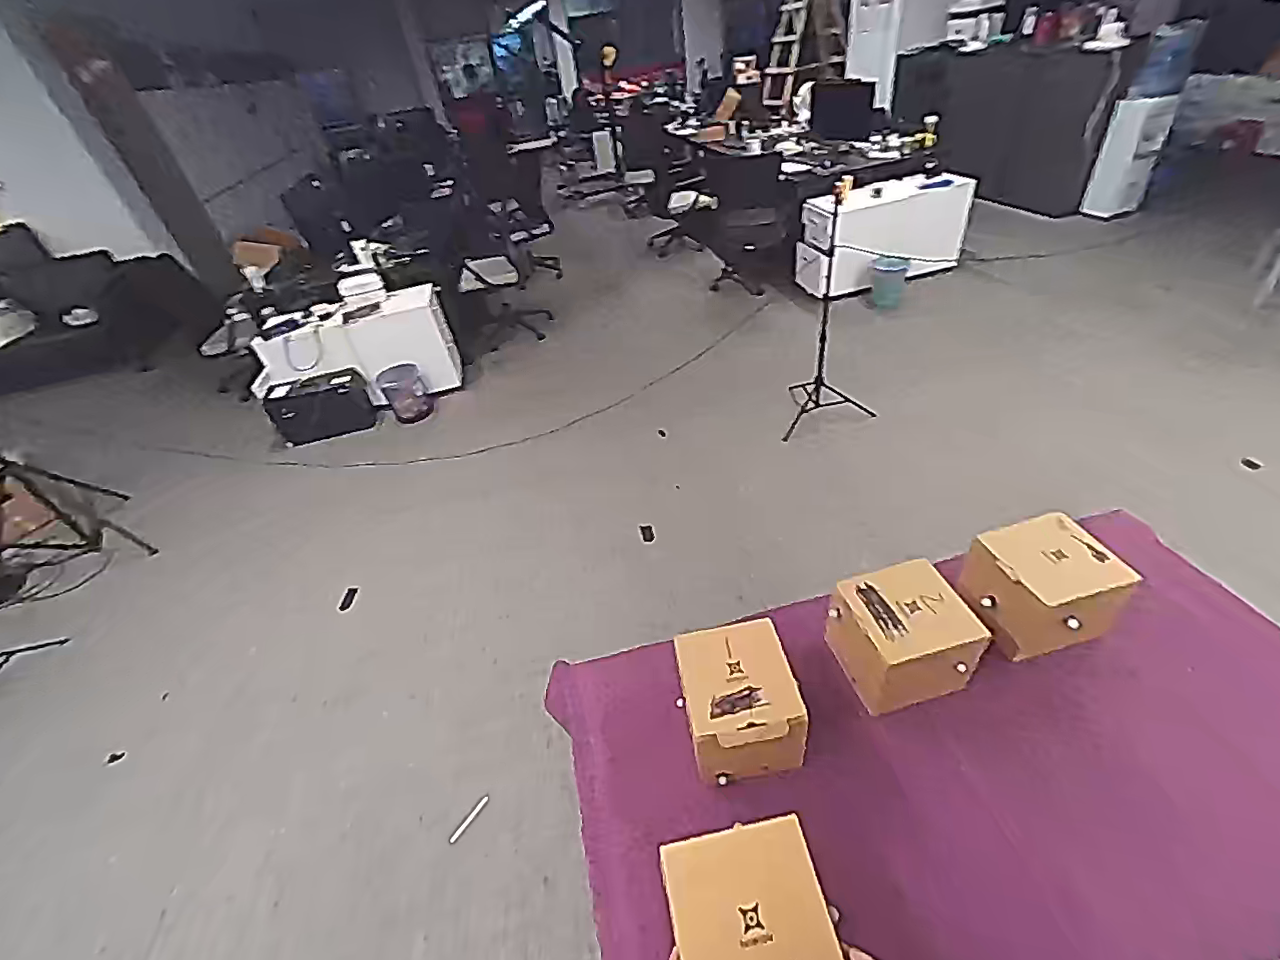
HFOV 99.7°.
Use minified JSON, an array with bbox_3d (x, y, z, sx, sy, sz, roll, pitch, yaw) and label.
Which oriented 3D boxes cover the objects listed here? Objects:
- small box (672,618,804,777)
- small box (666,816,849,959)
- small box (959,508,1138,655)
[{"bbox_3d":[0.154,0.356,0.874,0.168,0.176,0.179,-11,39,-1],"label":"small box"},{"bbox_3d":[0.126,0.518,0.621,0.168,0.176,0.179,-11,49,-5],"label":"small box"},{"bbox_3d":[0.701,0.183,0.959,0.179,0.176,0.168,-15,42,-5],"label":"small box"}]
